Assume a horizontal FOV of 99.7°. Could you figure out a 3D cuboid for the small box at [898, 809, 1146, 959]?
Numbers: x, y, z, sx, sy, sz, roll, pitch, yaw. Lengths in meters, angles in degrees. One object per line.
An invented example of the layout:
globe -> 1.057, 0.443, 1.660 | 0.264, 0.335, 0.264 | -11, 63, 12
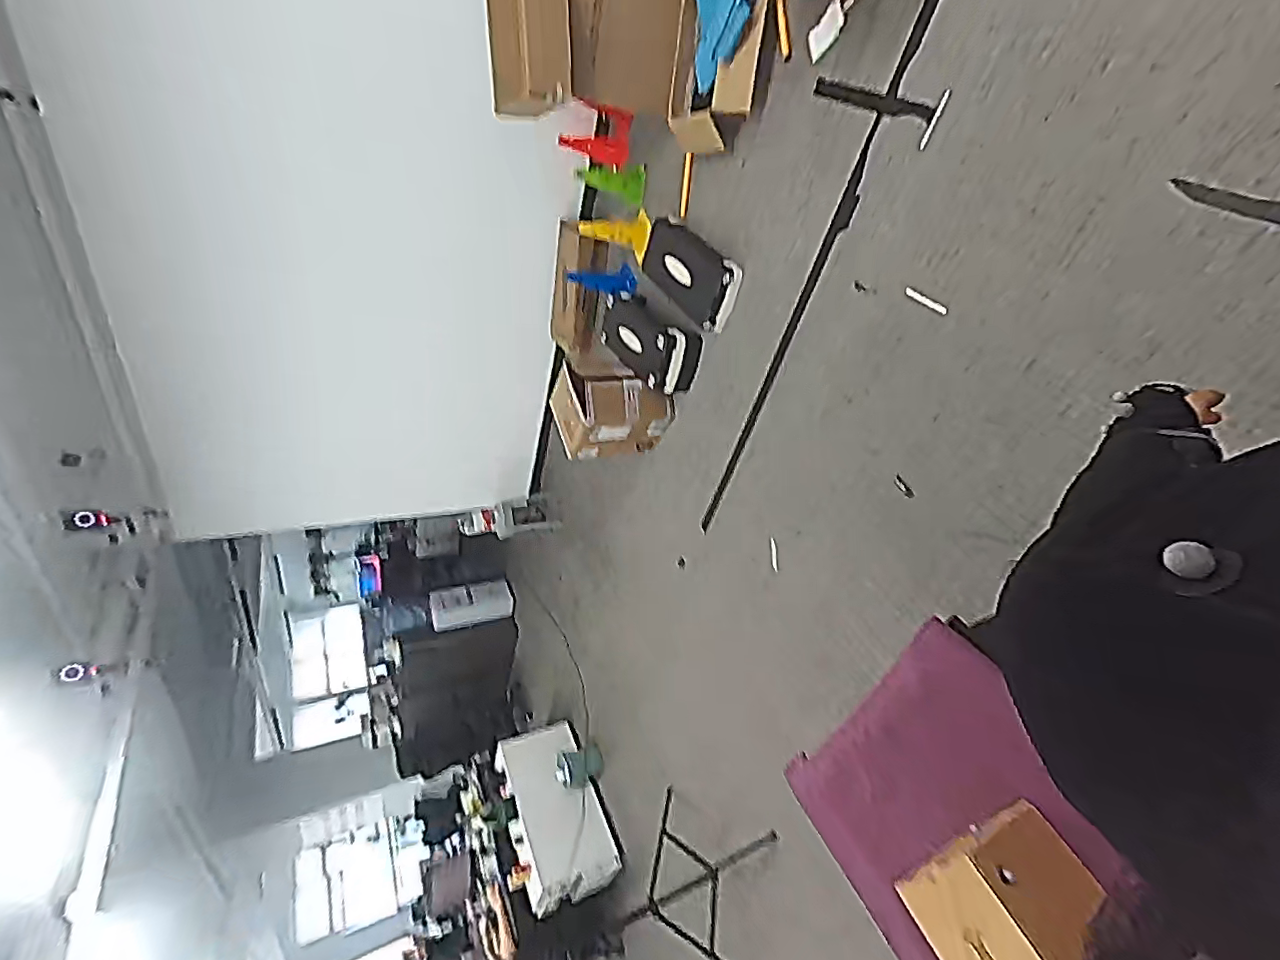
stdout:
small box -> 0.497, 0.581, 0.715 | 0.179, 0.176, 0.168 | 58, 142, 39
